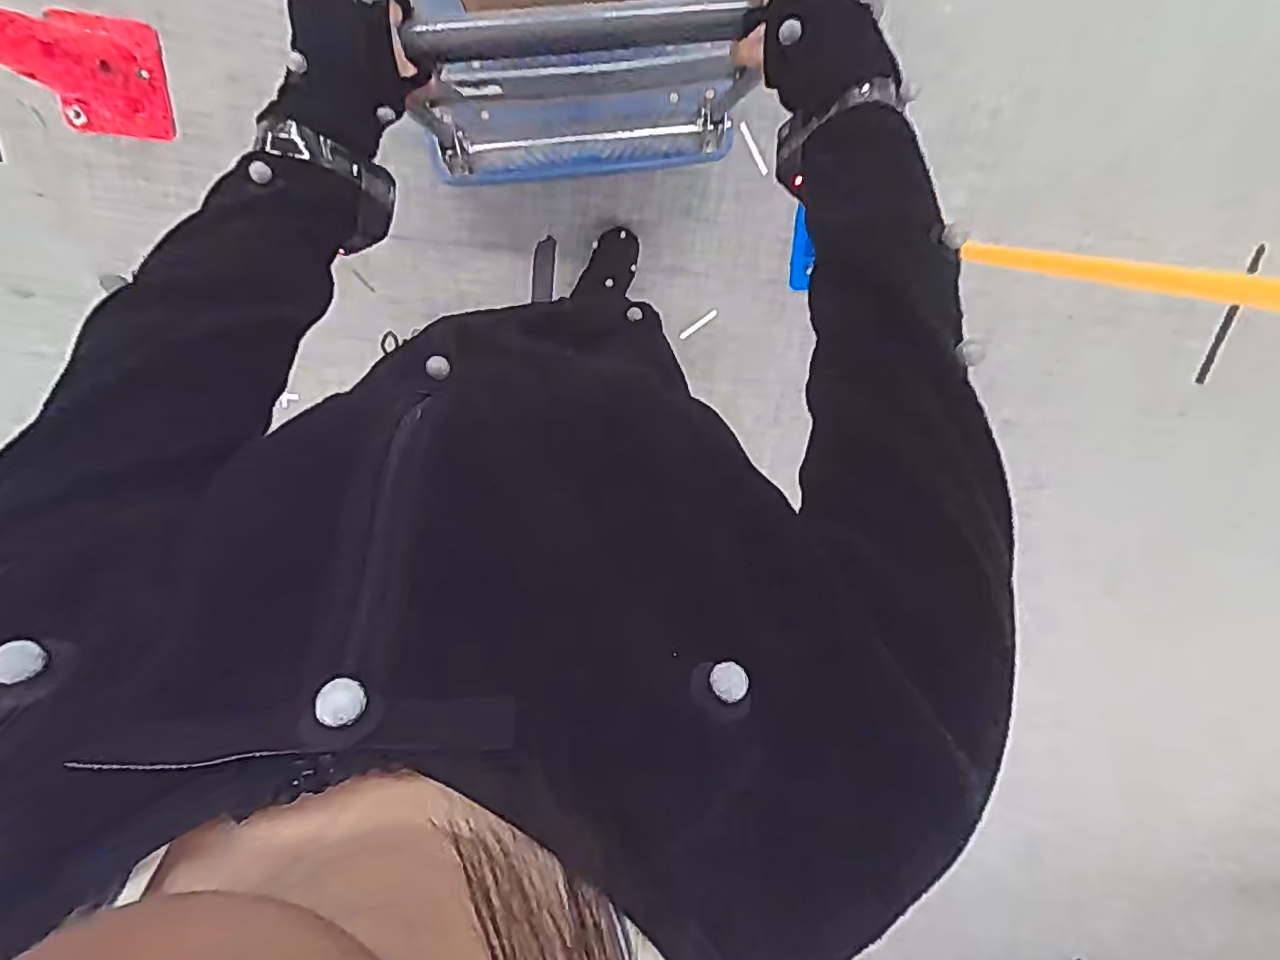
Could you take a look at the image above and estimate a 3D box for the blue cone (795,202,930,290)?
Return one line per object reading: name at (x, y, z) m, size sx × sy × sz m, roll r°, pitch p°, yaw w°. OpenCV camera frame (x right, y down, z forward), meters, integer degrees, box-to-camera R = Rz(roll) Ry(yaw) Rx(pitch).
blue cone at (0.488, -0.503, 1.150) m, size 0.193 × 0.380 × 0.192 m, roll 1°, pitch 111°, yaw -7°
